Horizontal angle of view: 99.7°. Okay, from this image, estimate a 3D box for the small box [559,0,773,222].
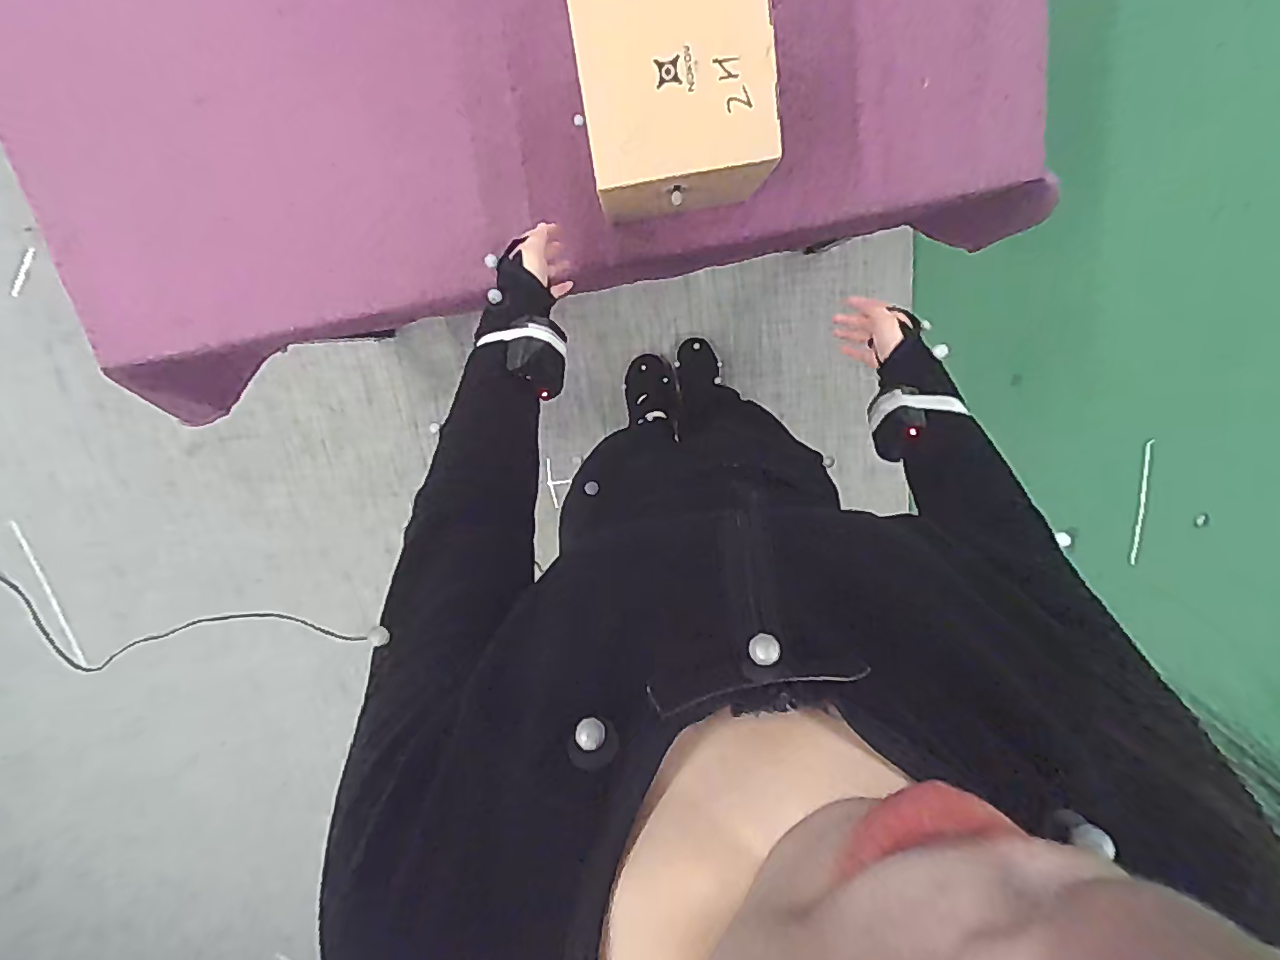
[{"bbox_3d":[0.027,-0.378,0.557,0.179,0.176,0.168,-8,106,2],"label":"small box"}]
